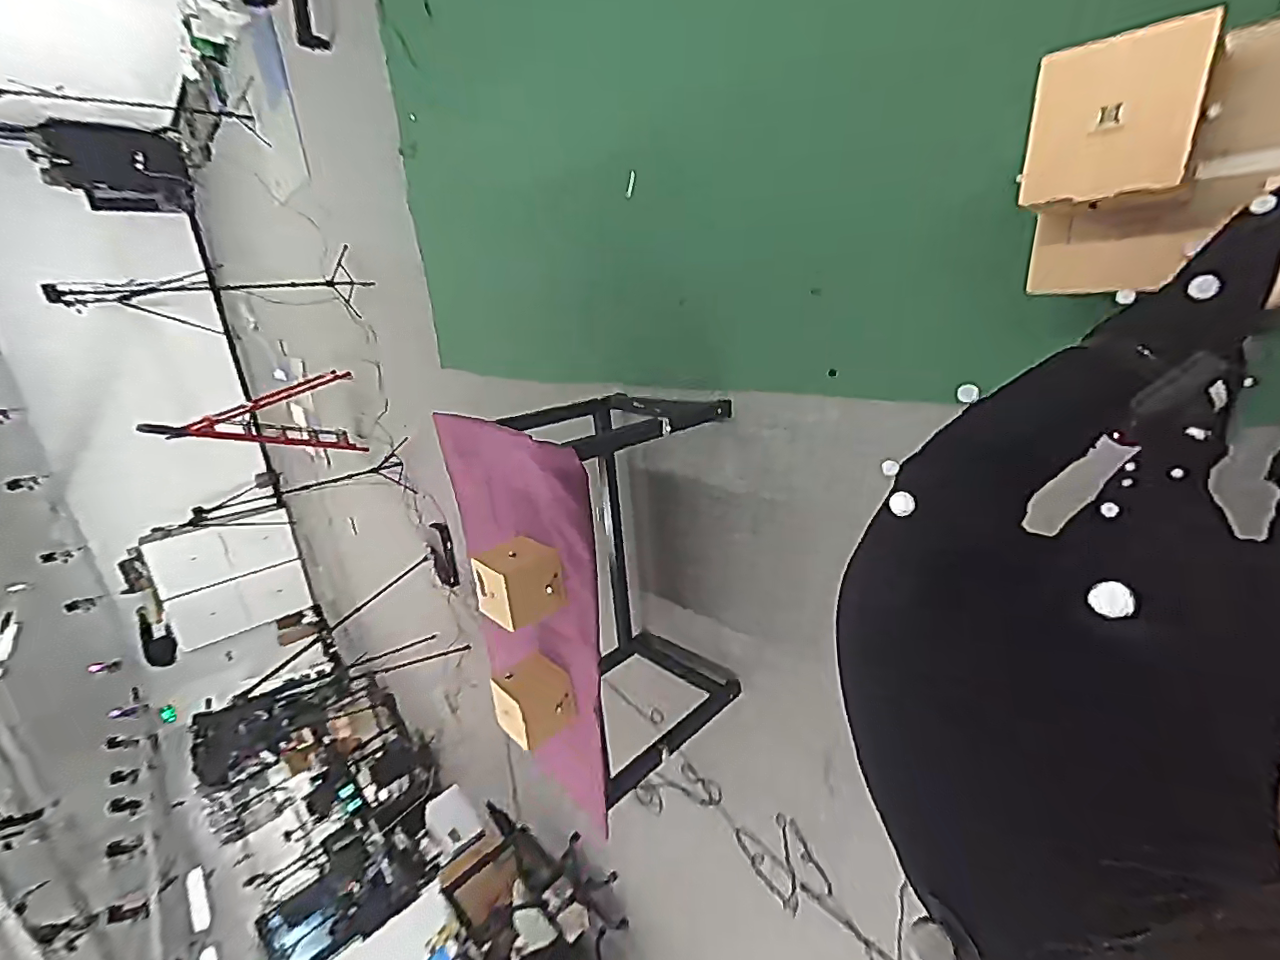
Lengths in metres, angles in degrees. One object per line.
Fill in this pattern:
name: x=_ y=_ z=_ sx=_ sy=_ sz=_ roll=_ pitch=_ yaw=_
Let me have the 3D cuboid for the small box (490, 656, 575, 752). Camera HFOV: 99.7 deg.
small box: x=-0.310 y=0.640 z=1.572 sx=0.179 sy=0.176 sz=0.168 roll=13 pitch=115 yaw=47

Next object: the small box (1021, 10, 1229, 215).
small box: x=0.634 y=-0.462 z=0.715 sx=0.168 sy=0.176 sz=0.179 roll=16 pitch=116 yaw=43

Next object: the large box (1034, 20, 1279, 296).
large box: x=0.886 y=-0.456 z=0.813 sx=0.408 sy=0.320 sz=0.320 roll=15 pitch=117 yaw=44

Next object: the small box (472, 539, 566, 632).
small box: x=-0.319 y=0.269 z=1.434 sx=0.179 sy=0.176 sz=0.168 roll=14 pitch=115 yaw=45
